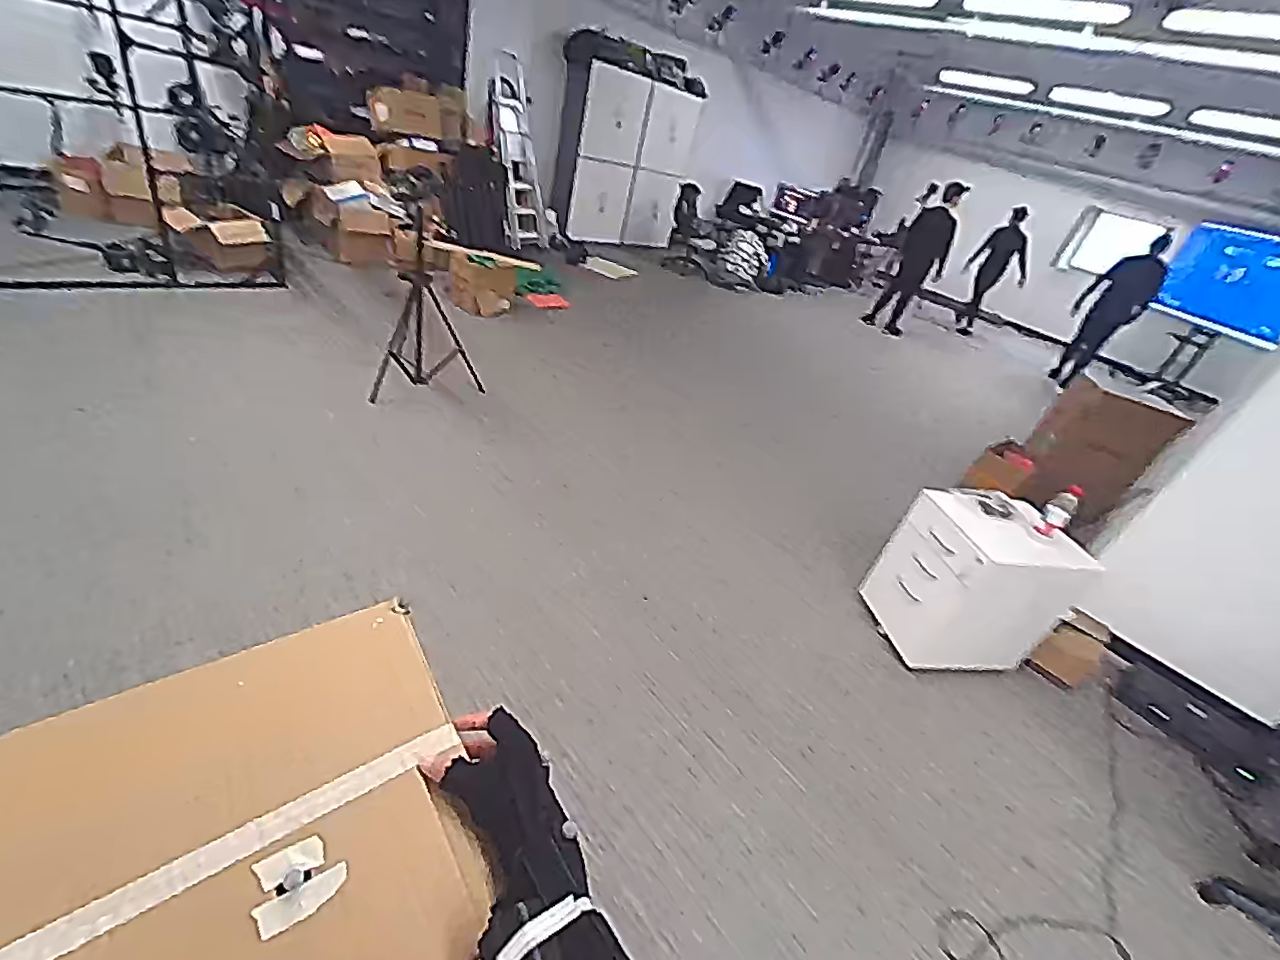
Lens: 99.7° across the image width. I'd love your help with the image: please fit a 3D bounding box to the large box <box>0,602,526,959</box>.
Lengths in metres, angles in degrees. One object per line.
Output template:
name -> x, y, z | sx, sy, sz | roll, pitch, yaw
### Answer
large box -> -0.372, 0.387, 0.508 | 0.408, 0.320, 0.320 | -17, 57, -34
